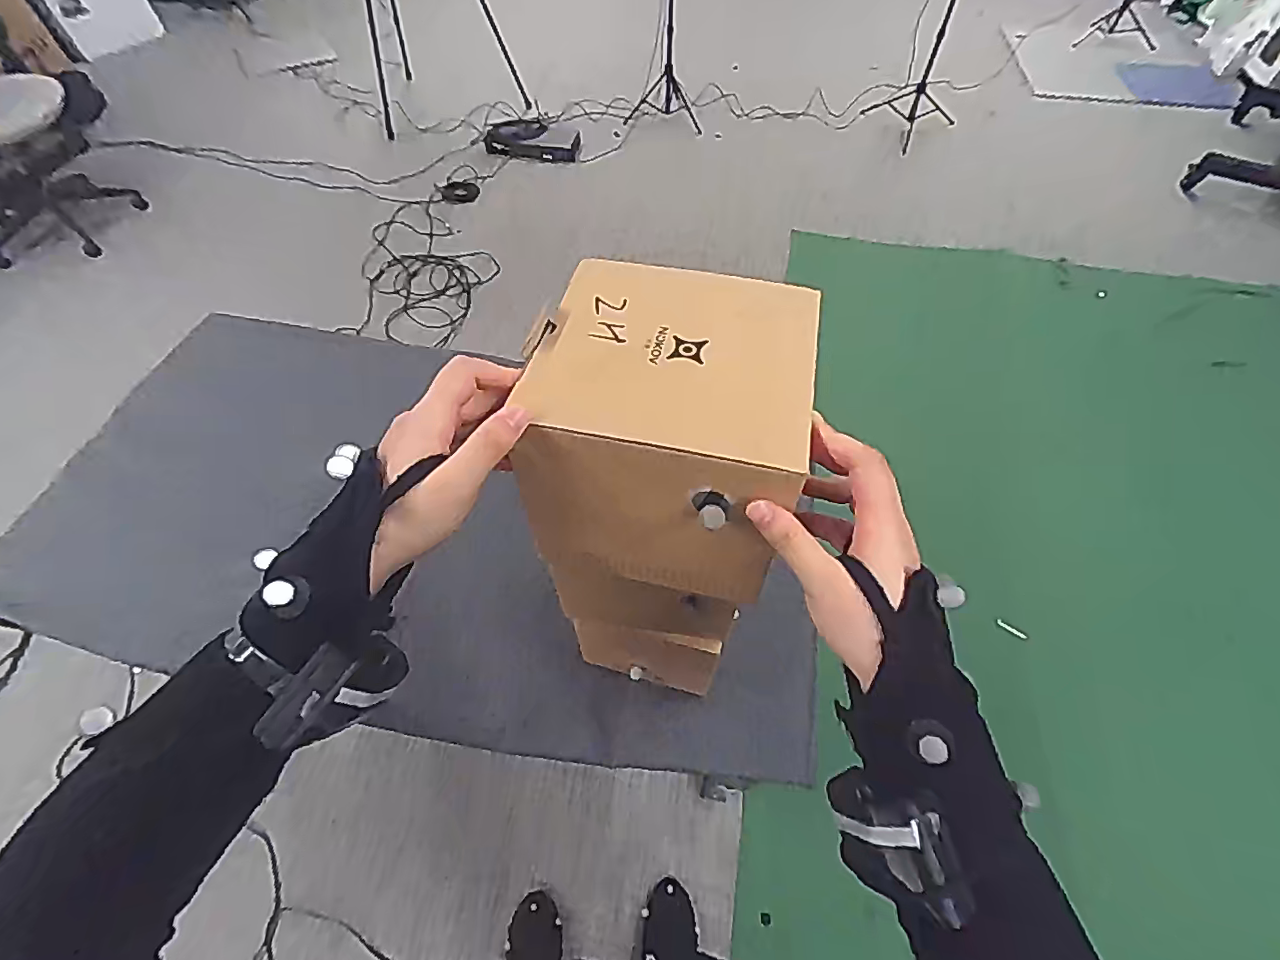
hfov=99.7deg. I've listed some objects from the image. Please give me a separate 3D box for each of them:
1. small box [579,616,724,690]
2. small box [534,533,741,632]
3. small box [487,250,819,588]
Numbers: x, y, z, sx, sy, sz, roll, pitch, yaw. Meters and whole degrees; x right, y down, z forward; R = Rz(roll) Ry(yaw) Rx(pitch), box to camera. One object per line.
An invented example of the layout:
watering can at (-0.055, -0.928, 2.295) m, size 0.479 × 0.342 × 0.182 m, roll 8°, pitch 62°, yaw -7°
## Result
small box at (0.025, 0.135, 0.674) m, size 0.168 × 0.176 × 0.179 m, roll 13°, pitch 56°, yaw 10°
small box at (0.012, 0.039, 0.544) m, size 0.179 × 0.176 × 0.168 m, roll 6°, pitch 53°, yaw 7°
small box at (0.019, -0.038, 0.396) m, size 0.179 × 0.176 × 0.168 m, roll 10°, pitch 54°, yaw 9°
